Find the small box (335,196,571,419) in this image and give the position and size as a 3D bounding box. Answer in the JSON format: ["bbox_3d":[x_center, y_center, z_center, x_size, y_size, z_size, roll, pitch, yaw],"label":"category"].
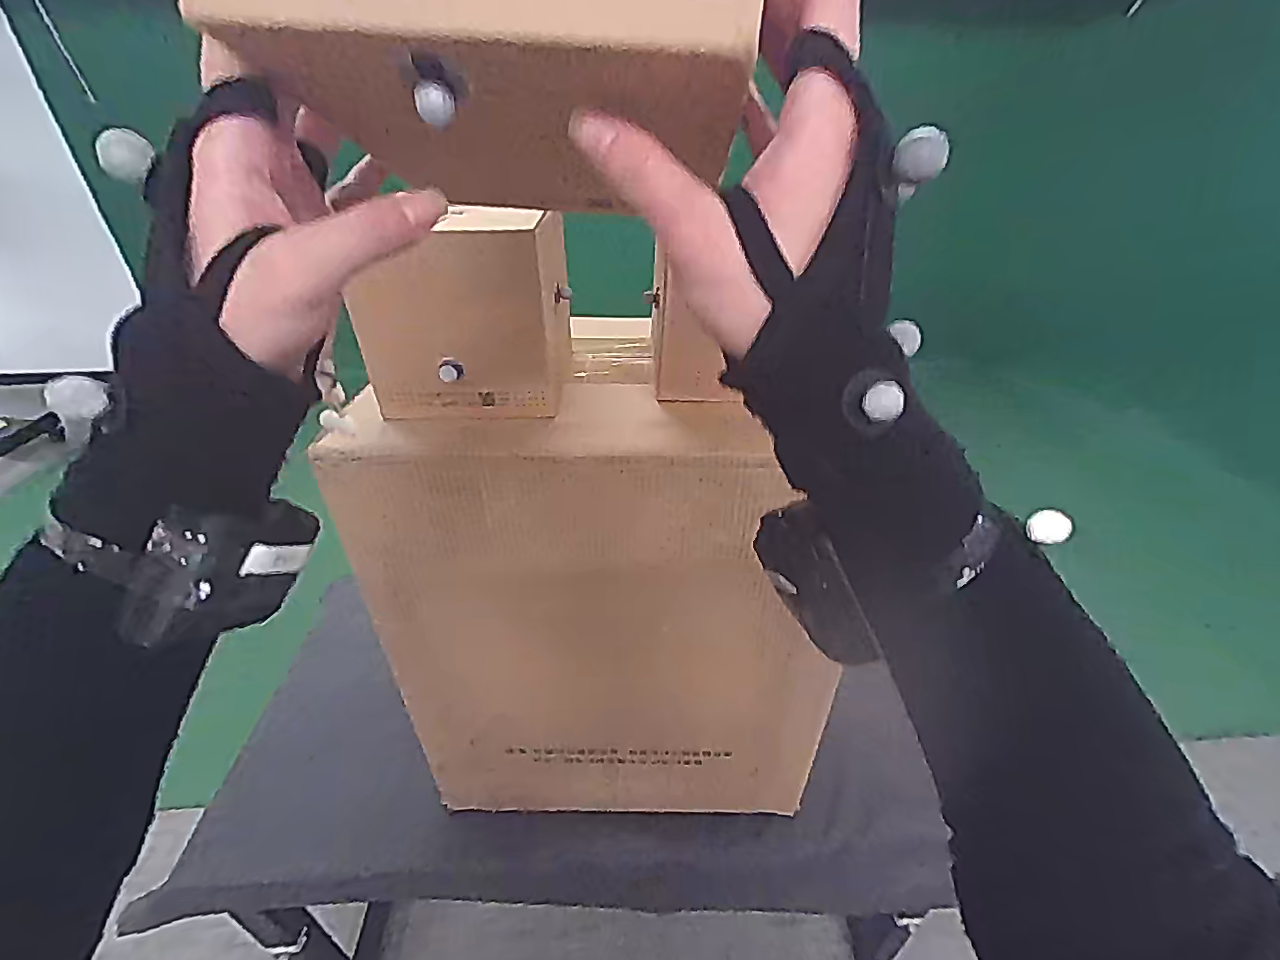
[{"bbox_3d":[-0.162,-0.176,0.539,0.168,0.176,0.179,0,36,0],"label":"small box"}]

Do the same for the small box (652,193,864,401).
[{"bbox_3d":[0.102,-0.193,0.566,0.179,0.176,0.168,2,36,-3],"label":"small box"}]

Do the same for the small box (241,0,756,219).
[{"bbox_3d":[-0.037,-0.232,0.224,0.168,0.179,0.176,5,9,2],"label":"small box"}]
